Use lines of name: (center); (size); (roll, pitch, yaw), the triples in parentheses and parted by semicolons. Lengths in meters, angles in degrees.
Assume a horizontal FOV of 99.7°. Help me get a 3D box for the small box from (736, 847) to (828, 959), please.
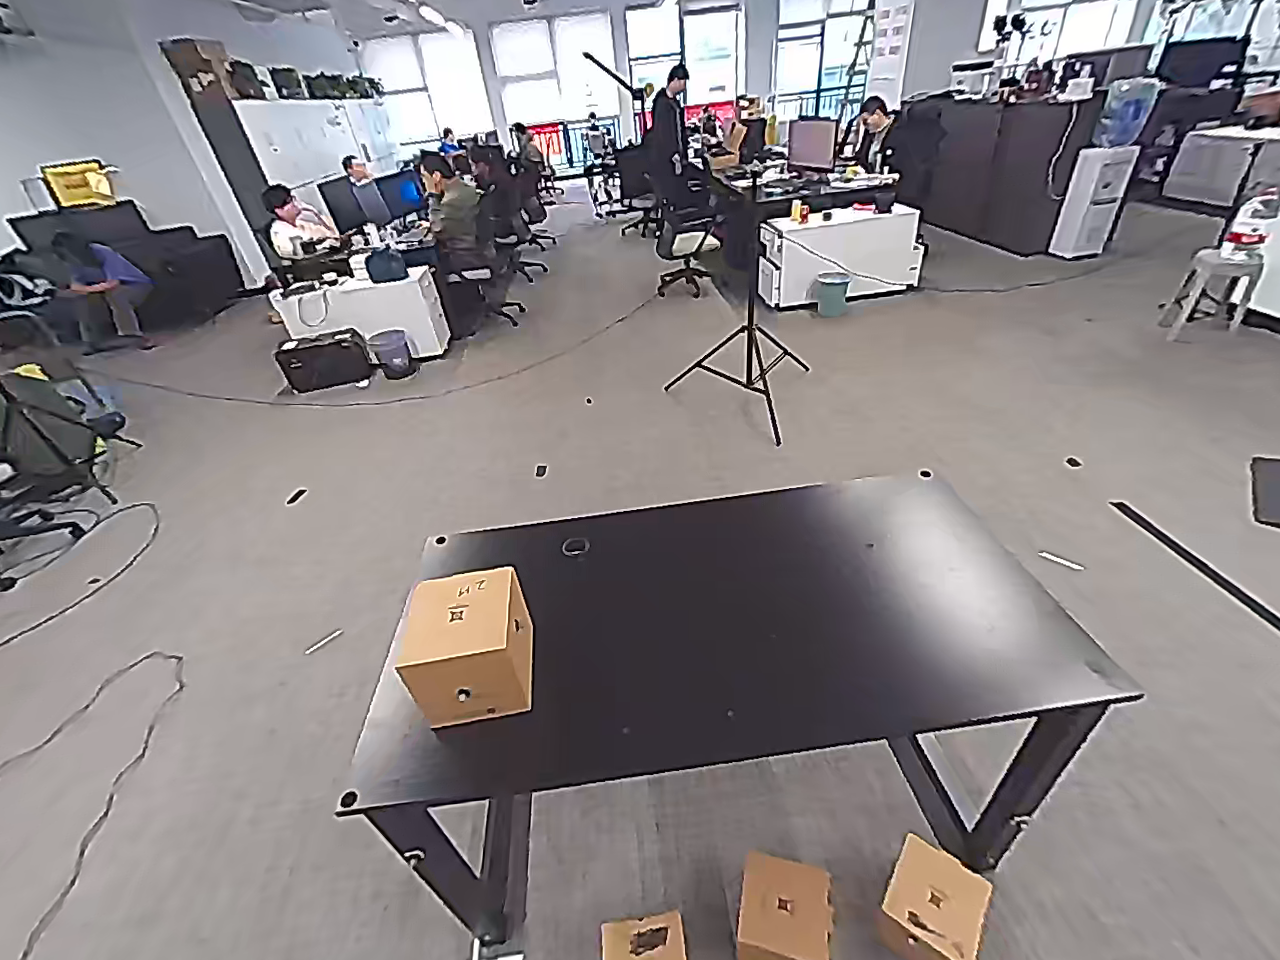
small box: (0.303, 0.928, 1.154); (0.179, 0.176, 0.168); (3, 37, 17)

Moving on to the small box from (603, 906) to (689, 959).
small box: (0.018, 1.008, 1.095); (0.168, 0.176, 0.179); (-9, 38, -2)

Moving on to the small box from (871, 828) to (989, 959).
small box: (0.604, 0.896, 1.140); (0.168, 0.176, 0.179); (20, 44, 33)

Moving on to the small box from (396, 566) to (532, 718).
small box: (-0.280, 0.275, 0.904); (0.168, 0.176, 0.179); (-9, 36, -3)
